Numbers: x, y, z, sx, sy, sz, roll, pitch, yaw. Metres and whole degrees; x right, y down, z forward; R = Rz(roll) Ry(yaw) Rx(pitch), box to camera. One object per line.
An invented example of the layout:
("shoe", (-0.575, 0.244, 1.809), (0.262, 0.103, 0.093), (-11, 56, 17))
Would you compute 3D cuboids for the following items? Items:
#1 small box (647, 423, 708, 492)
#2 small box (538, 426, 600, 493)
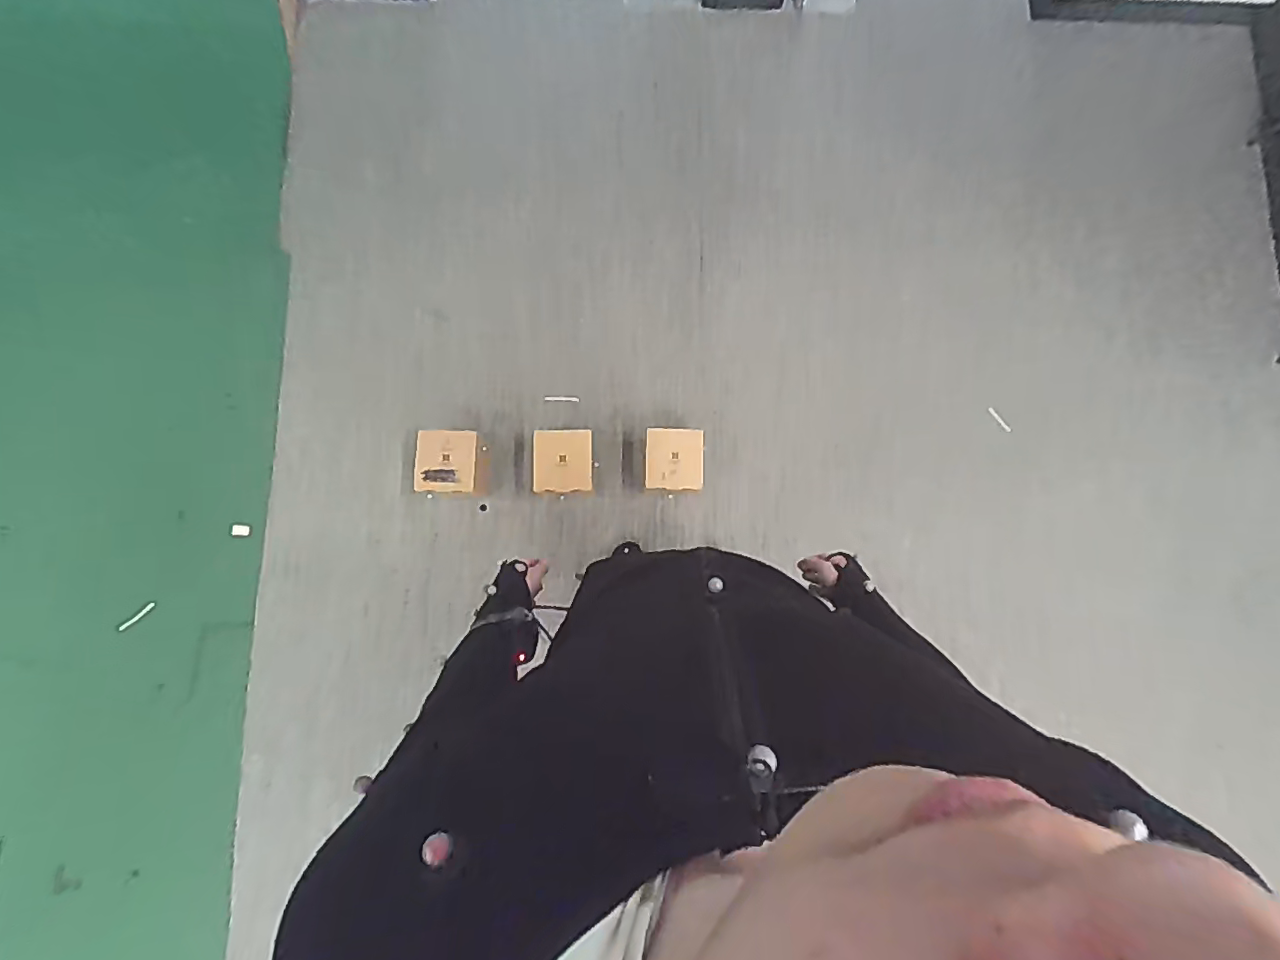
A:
("small box", (0.107, -0.062, 1.607), (0.168, 0.176, 0.179), (2, 83, -1))
("small box", (-0.207, -0.057, 1.604), (0.168, 0.176, 0.179), (-1, 84, -2))
